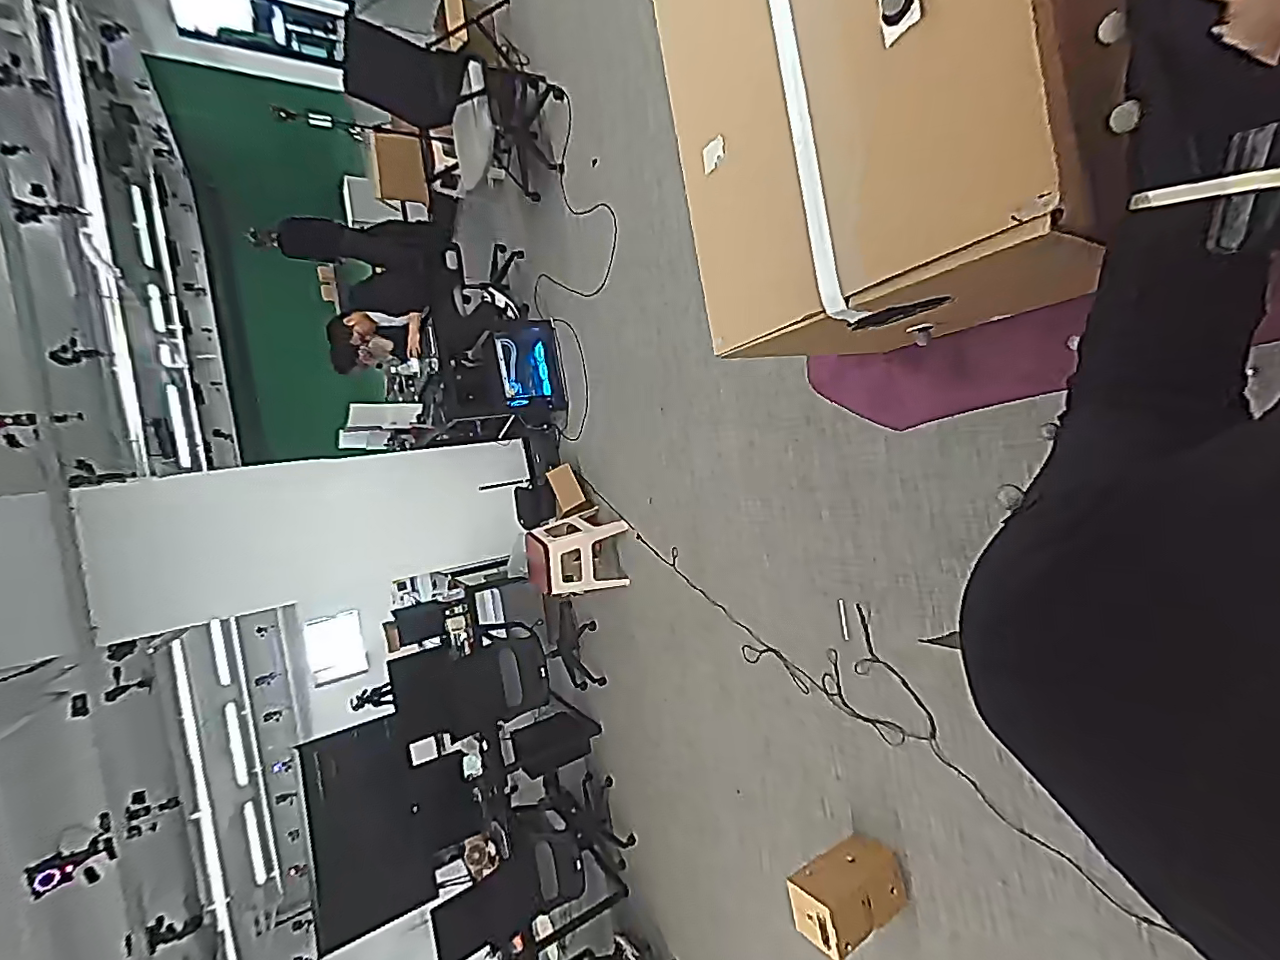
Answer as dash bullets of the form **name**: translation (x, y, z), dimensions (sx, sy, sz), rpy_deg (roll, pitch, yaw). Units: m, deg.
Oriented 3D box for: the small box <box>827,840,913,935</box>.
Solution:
- **small box**: translation (0.753, 1.324, 1.775), dimensions (0.179, 0.176, 0.168), rpy_deg (-22, 80, 58)
